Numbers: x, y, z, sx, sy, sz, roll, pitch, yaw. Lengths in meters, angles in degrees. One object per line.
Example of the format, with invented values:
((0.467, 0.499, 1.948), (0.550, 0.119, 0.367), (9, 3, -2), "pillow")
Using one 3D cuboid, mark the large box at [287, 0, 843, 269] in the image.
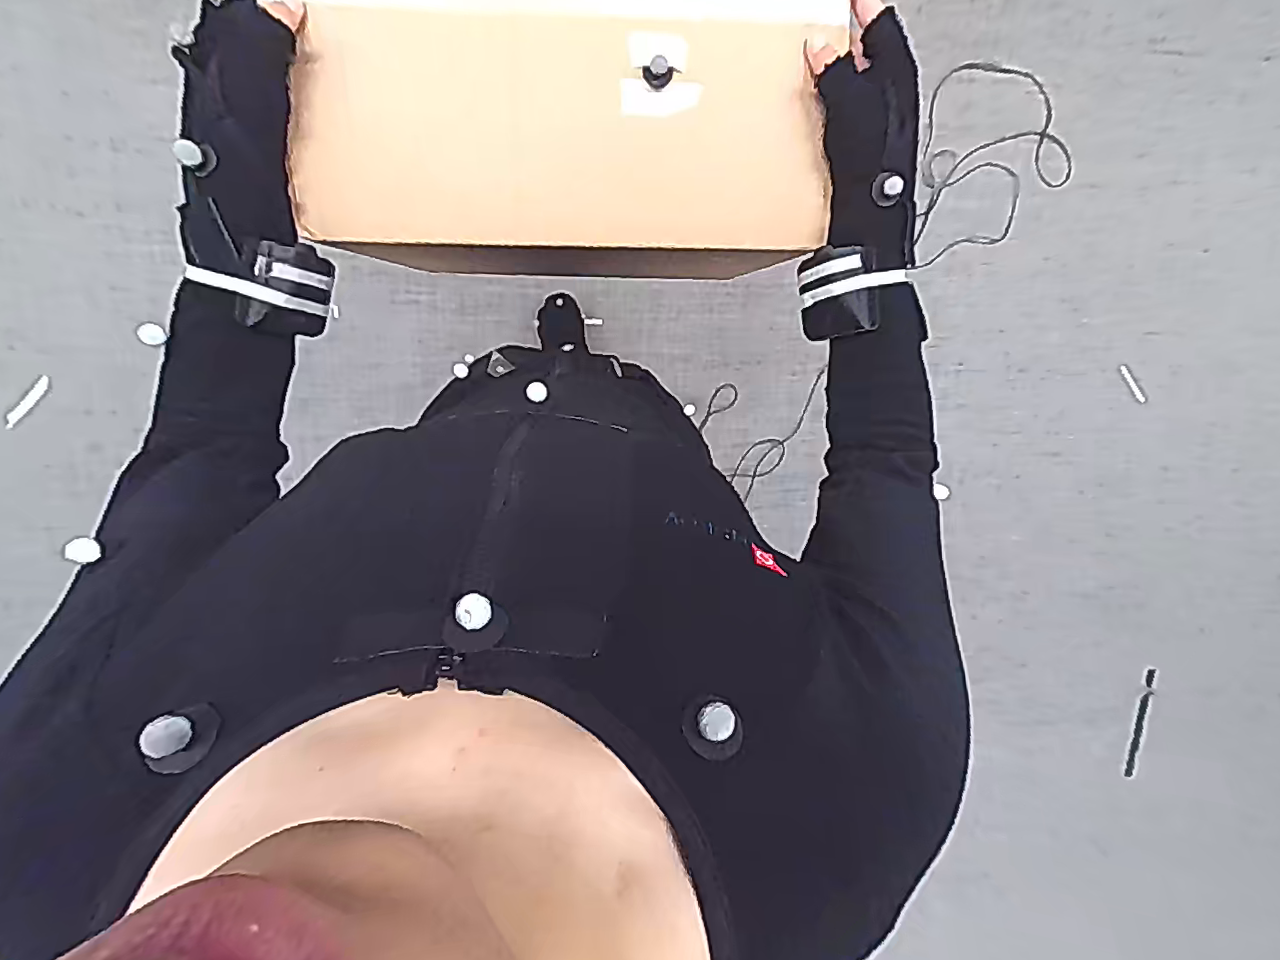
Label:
((-0.060, -0.387, 0.528), (0.408, 0.320, 0.320), (-1, 107, -4), "large box")
